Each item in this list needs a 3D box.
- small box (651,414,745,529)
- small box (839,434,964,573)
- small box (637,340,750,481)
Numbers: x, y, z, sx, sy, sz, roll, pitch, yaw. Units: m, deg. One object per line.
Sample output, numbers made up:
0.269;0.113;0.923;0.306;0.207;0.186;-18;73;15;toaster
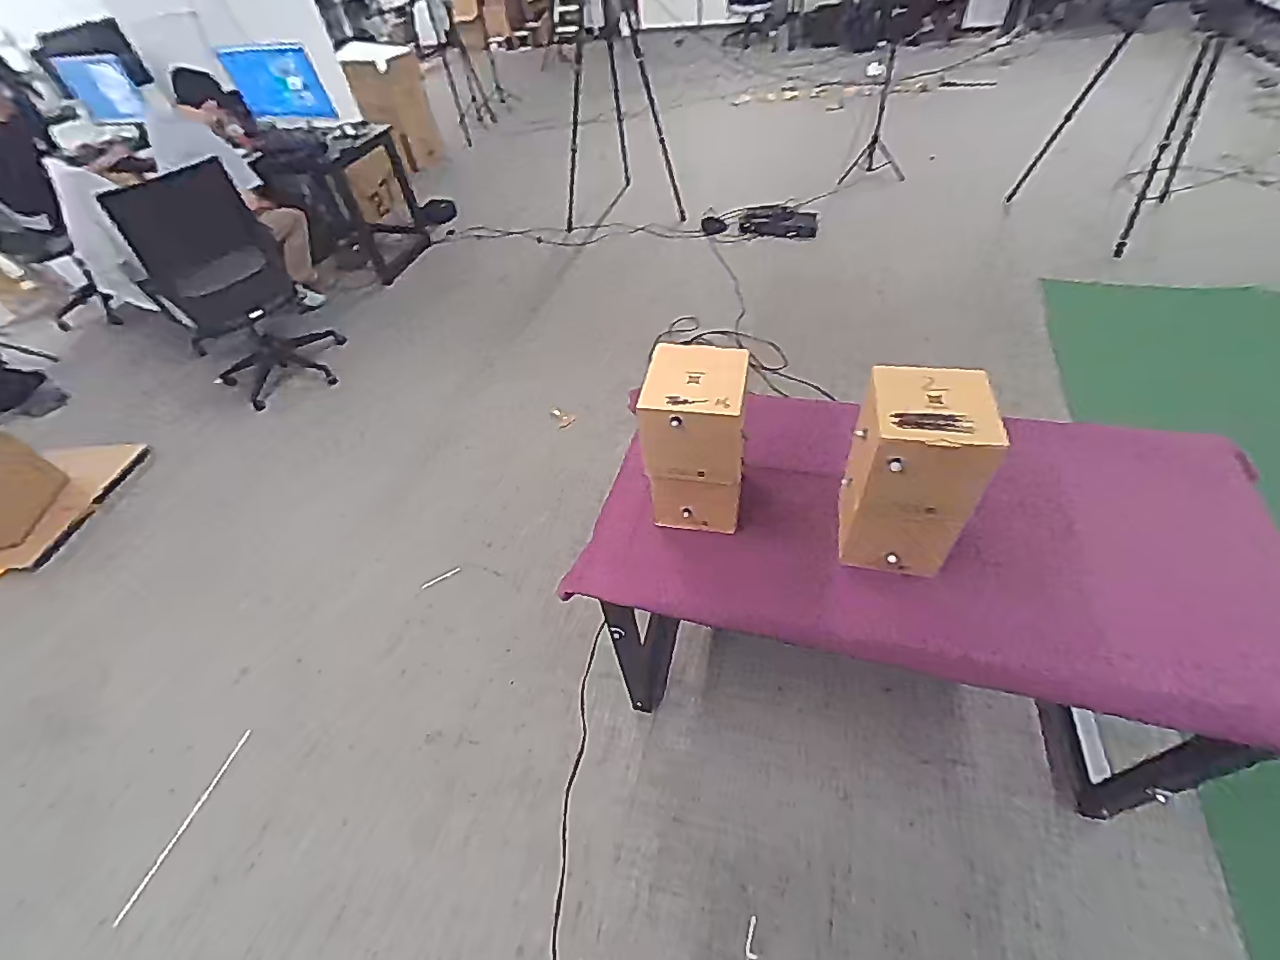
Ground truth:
0.118;-0.025;1.087;0.168;0.176;0.179;5;50;11;small box
0.459;0.042;0.979;0.168;0.176;0.179;6;50;14;small box
0.098;-0.123;0.956;0.168;0.176;0.179;6;50;13;small box
